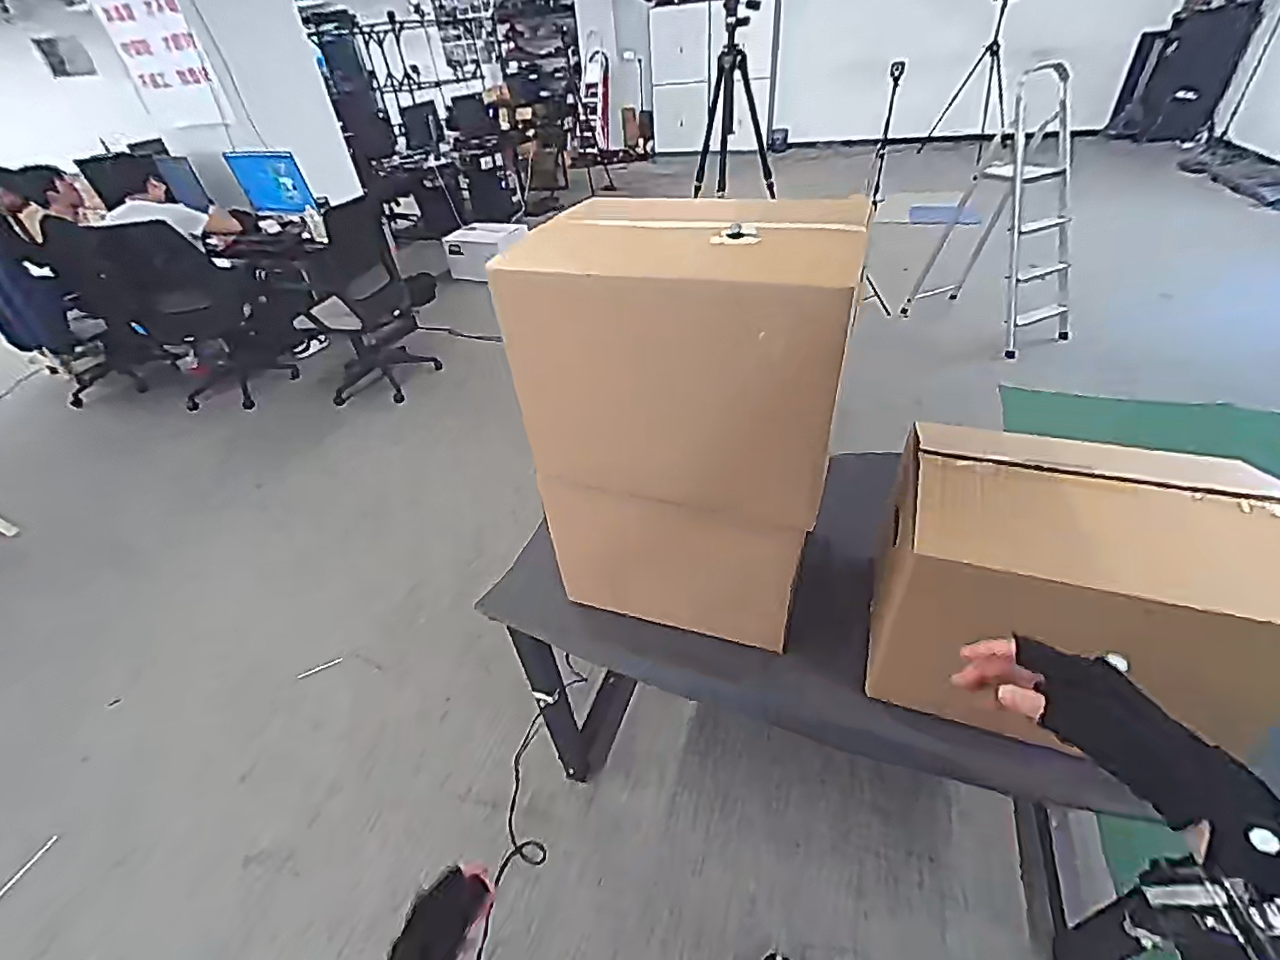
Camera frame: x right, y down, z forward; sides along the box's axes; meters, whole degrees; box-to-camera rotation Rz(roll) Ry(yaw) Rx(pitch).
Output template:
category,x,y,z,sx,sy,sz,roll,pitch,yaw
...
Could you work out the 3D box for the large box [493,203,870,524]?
category,x,y,z,sx,sy,sz,roll,pitch,yaw
large box,0.071,-0.180,0.760,0.408,0.320,0.320,12,43,18
